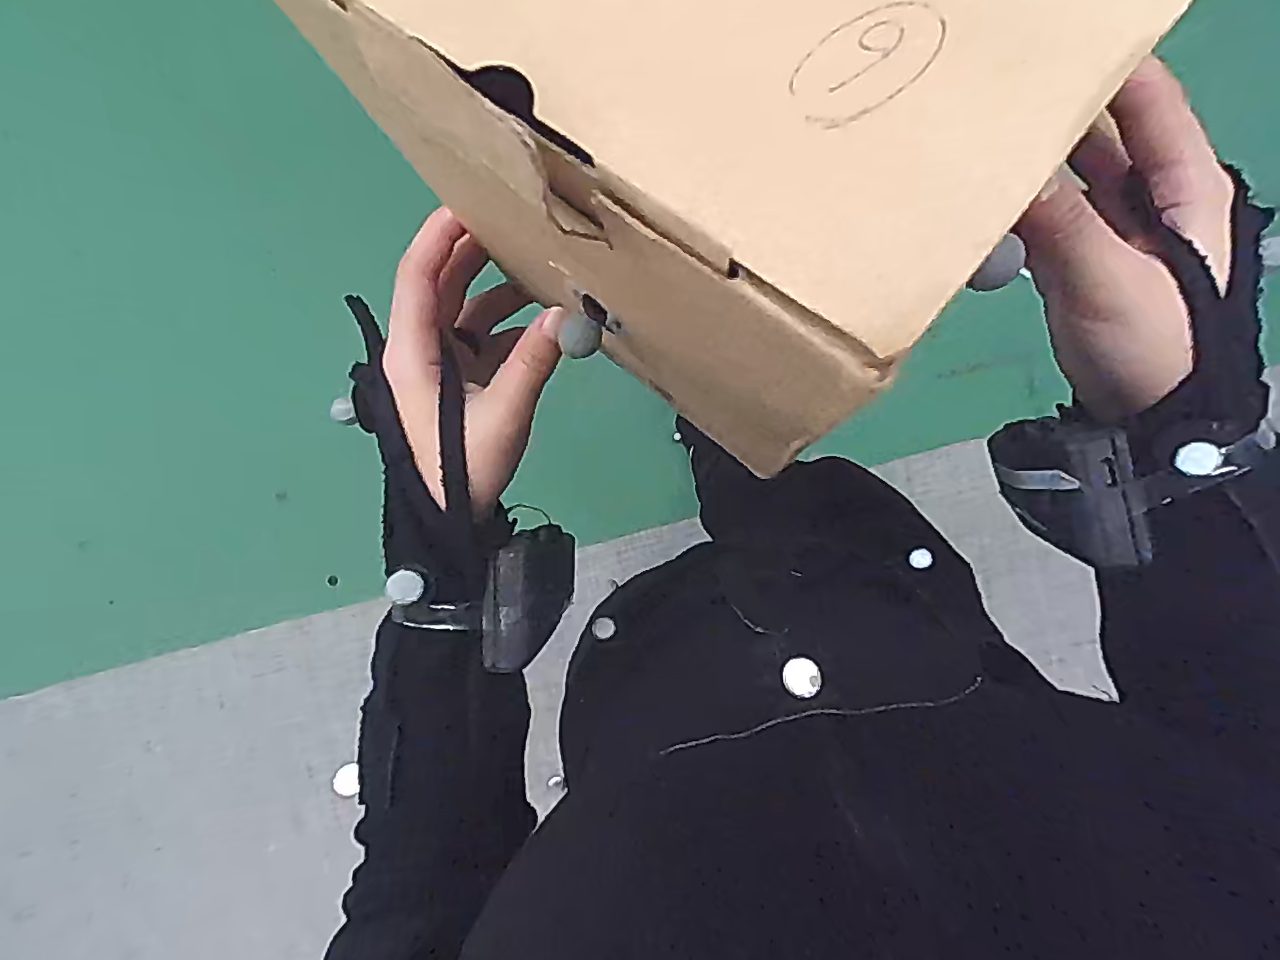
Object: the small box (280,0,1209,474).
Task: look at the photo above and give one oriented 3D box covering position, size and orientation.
[{"bbox_3d":[0.042,-0.118,0.187,0.168,0.176,0.179,39,91,9],"label":"small box"}]
